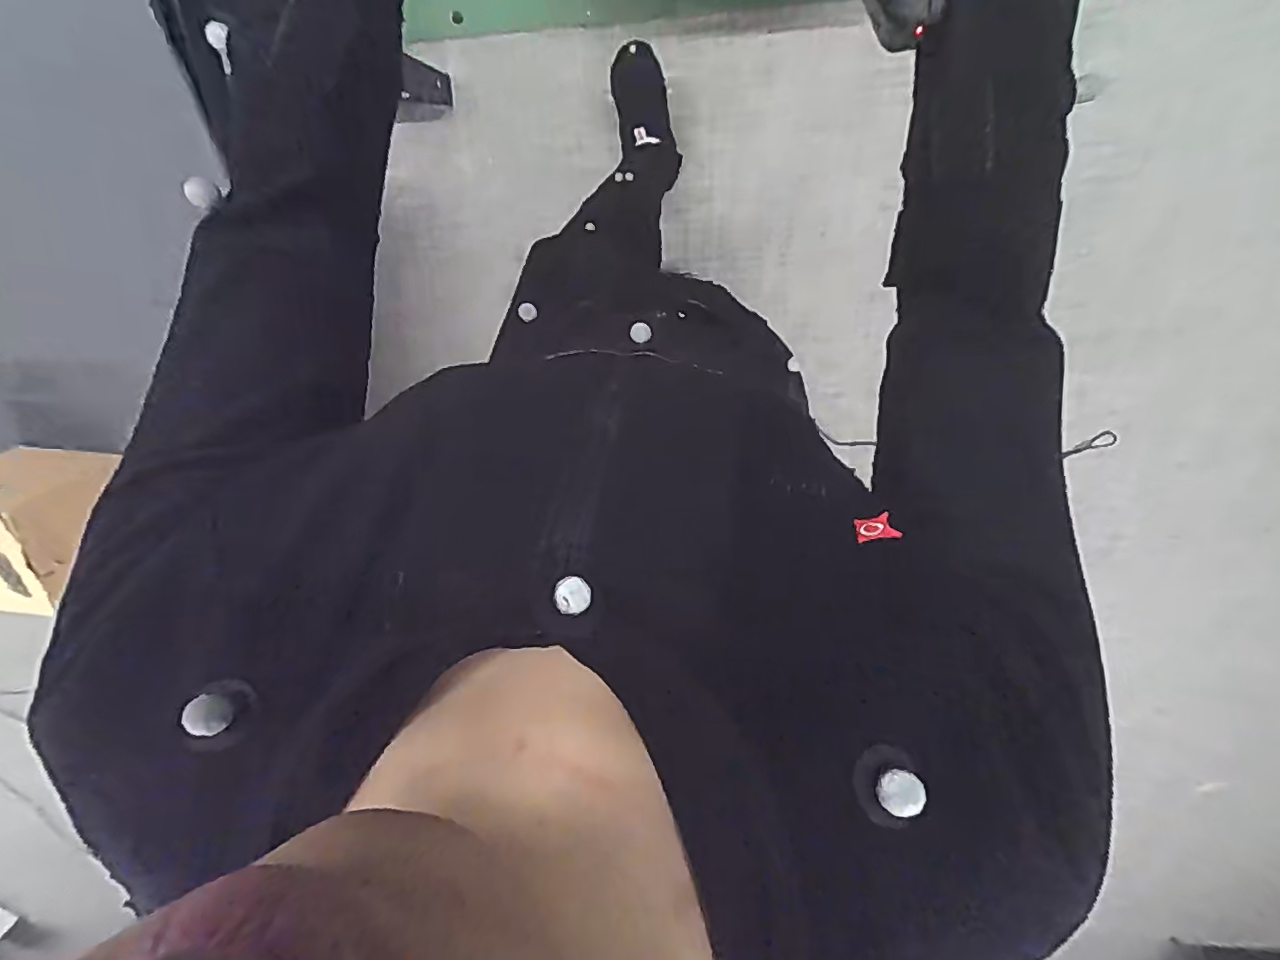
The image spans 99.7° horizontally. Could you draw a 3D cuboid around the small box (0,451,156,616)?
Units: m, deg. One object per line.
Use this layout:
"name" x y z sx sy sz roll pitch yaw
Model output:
"small box" -0.849 0.069 0.769 0.179 0.176 0.168 5 117 4
